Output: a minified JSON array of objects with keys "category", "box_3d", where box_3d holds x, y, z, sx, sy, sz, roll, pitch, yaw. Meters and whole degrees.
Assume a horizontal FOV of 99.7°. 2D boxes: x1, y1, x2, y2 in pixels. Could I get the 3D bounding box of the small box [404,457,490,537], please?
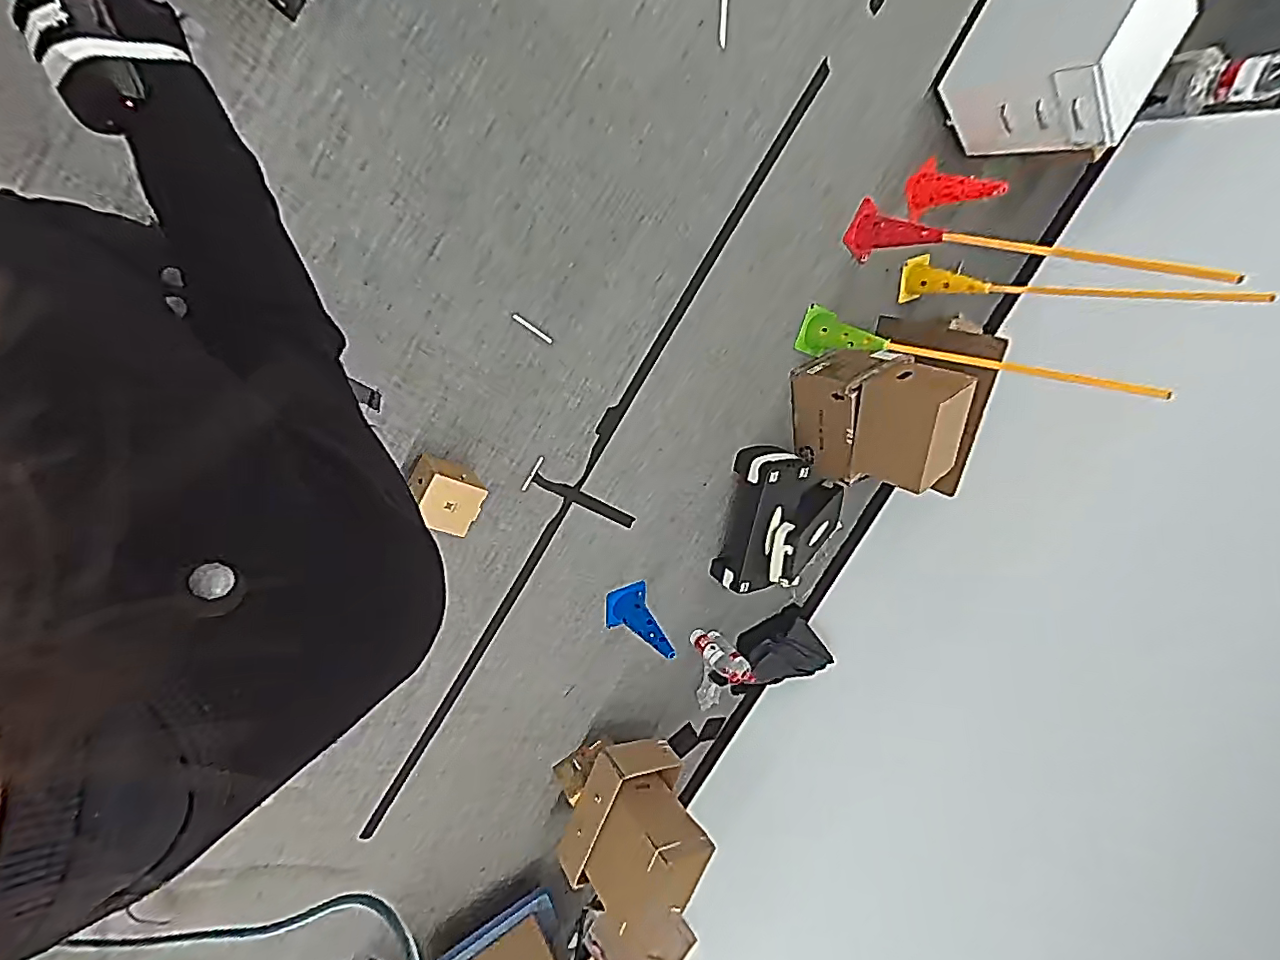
[{"category":"small box","box_3d":[-0.591,0.047,1.642,0.179,0.176,0.168,24,98,-41]}]
